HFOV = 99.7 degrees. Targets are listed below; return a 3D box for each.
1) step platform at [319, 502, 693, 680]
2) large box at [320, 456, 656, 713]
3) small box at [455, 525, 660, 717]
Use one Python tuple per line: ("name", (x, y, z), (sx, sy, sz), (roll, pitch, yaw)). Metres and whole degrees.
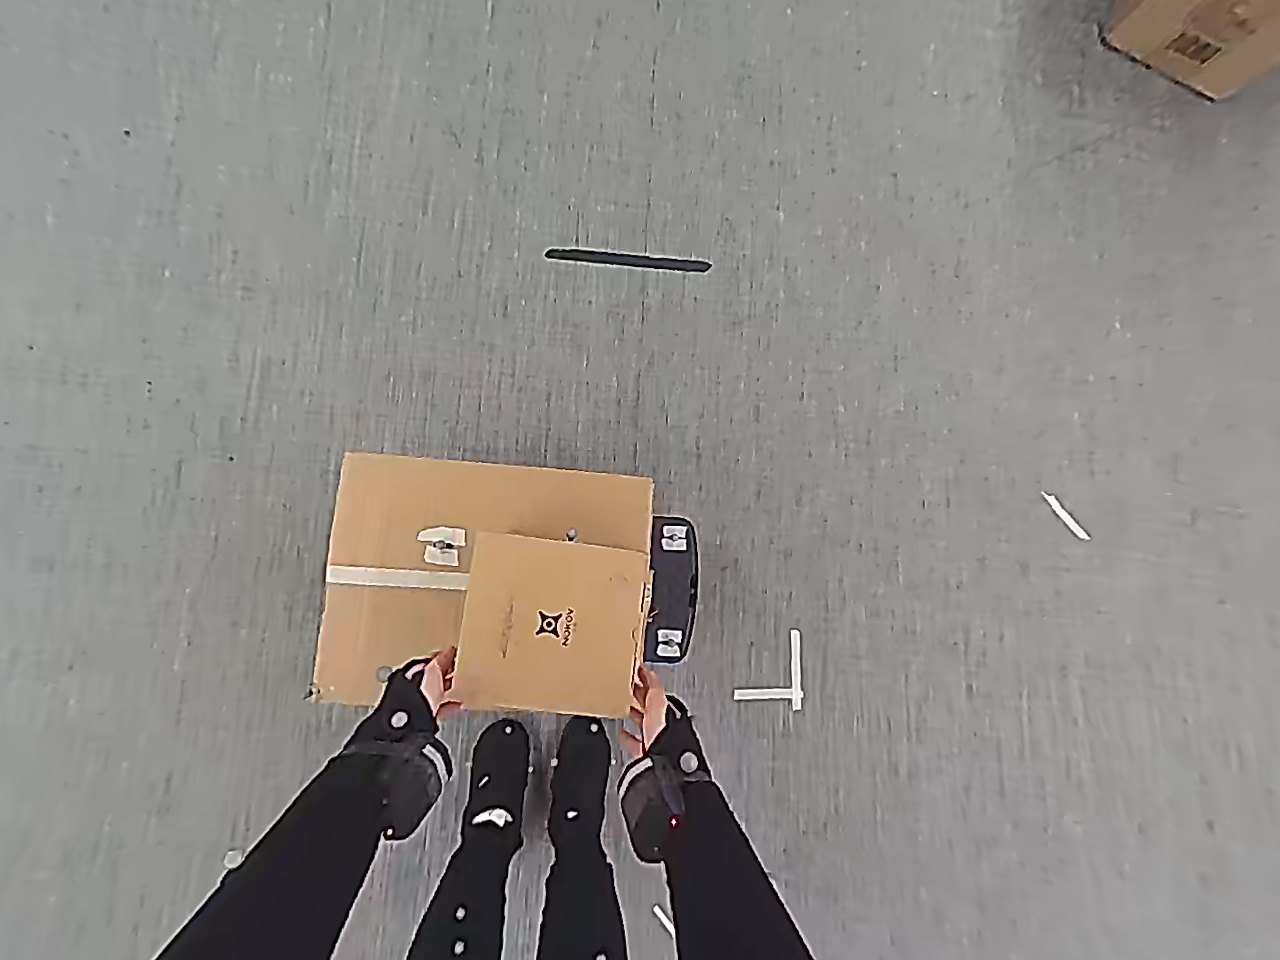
("step platform", (-0.239, 0.196, 1.067), (0.684, 0.204, 0.286), (10, 82, -4))
("large box", (-0.195, 0.151, 0.836), (0.408, 0.320, 0.320), (5, 82, -5))
("small box", (-0.085, 0.144, 0.601), (0.179, 0.176, 0.168), (9, 82, -5))
